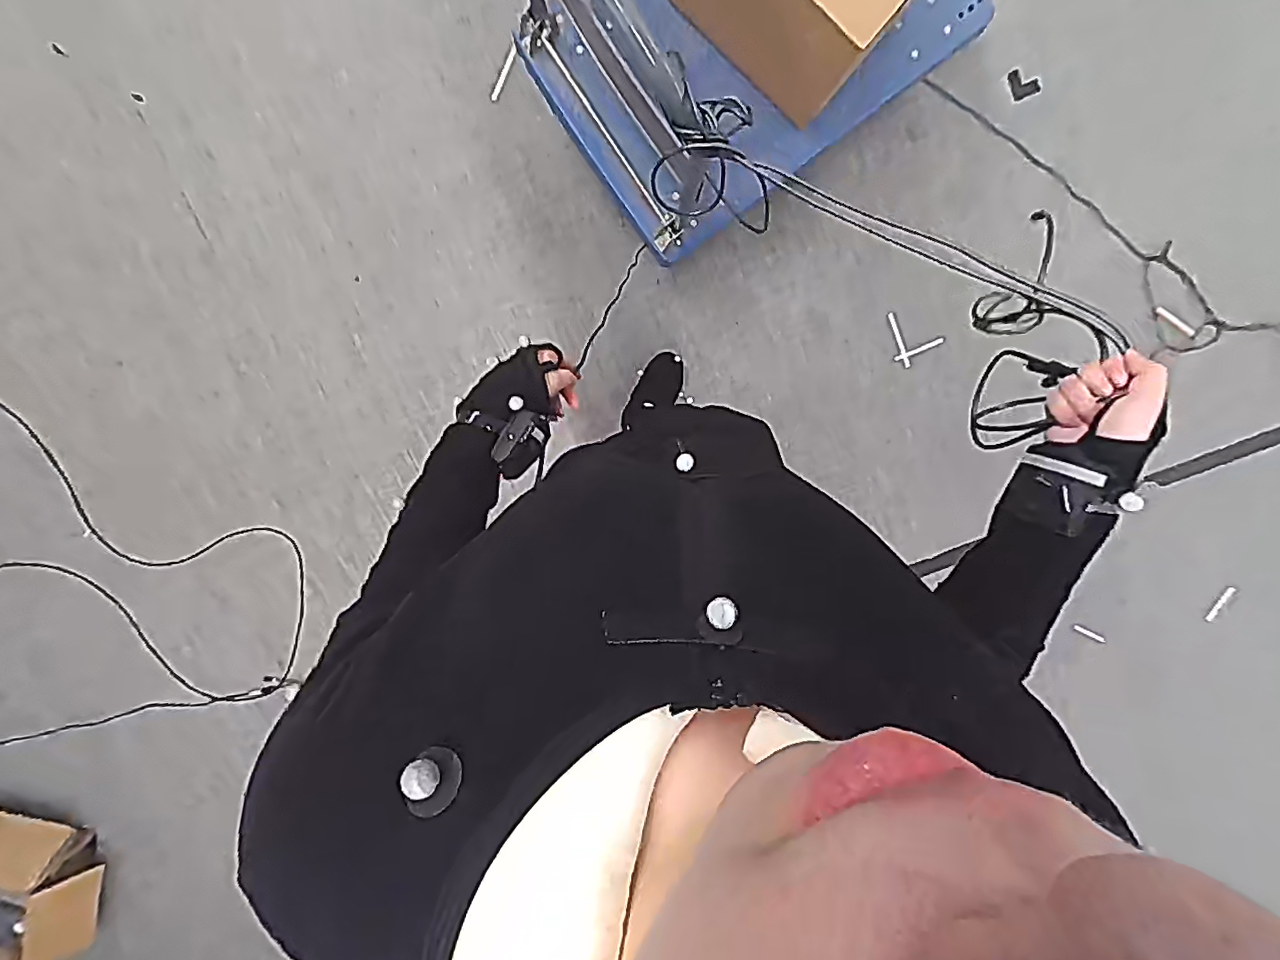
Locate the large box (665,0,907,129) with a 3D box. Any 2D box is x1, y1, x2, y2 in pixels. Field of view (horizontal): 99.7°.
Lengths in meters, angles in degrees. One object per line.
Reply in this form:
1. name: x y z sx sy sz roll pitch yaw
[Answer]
1. large box: 0.297 -0.966 0.985 0.408 0.320 0.320 39 98 -9
